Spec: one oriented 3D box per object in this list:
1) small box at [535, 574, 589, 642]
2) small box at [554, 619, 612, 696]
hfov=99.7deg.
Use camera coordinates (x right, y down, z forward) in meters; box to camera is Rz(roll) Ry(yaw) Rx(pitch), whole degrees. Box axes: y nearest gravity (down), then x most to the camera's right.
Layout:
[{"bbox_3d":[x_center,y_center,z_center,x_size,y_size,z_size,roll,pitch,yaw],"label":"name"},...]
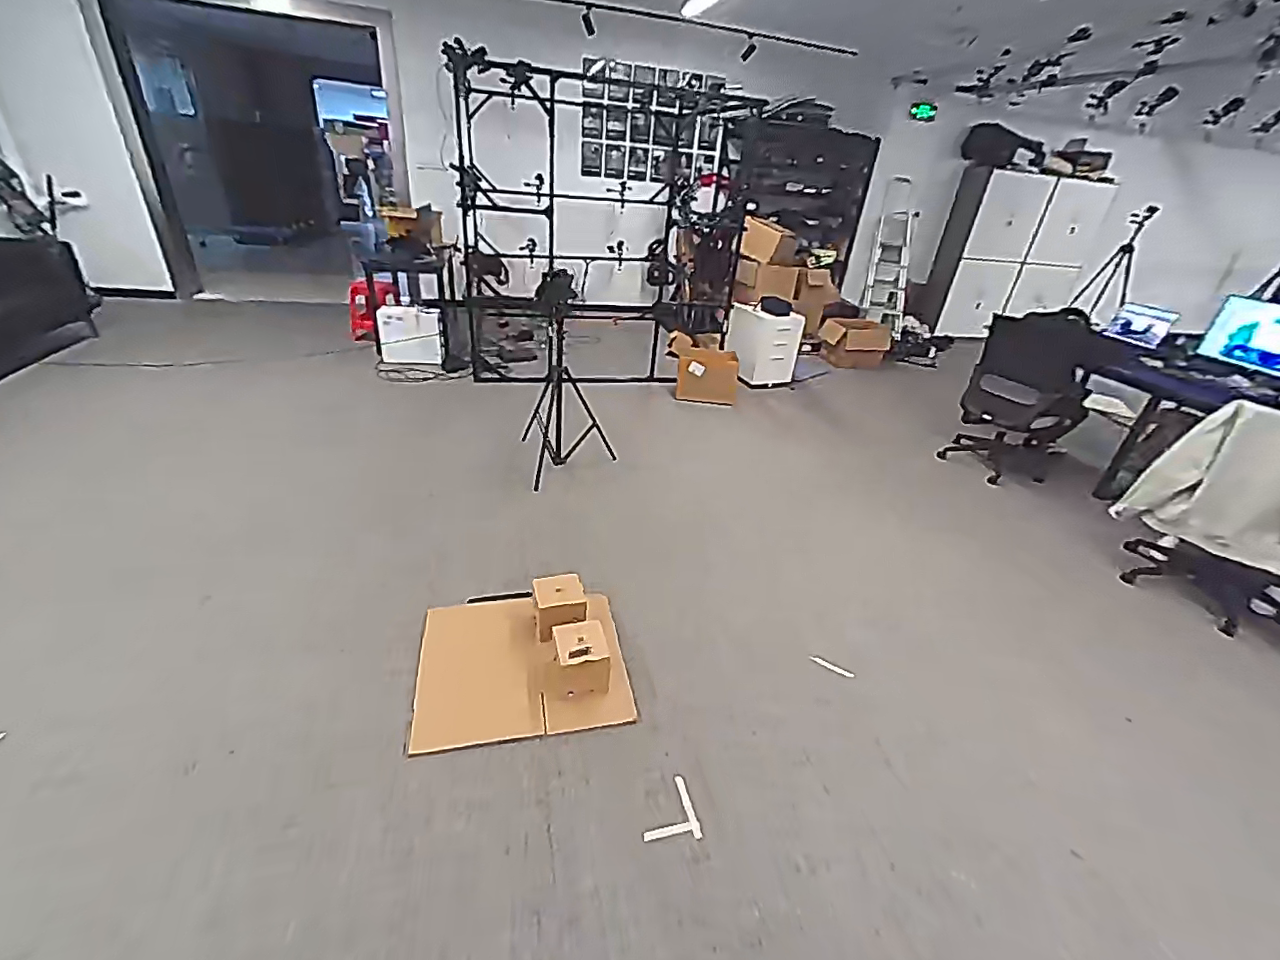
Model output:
[{"bbox_3d":[-0.296,0.477,2.023,0.179,0.176,0.168,-7,31,-18],"label":"small box"},{"bbox_3d":[-0.194,0.602,1.819,0.168,0.176,0.179,-5,31,-17],"label":"small box"}]
